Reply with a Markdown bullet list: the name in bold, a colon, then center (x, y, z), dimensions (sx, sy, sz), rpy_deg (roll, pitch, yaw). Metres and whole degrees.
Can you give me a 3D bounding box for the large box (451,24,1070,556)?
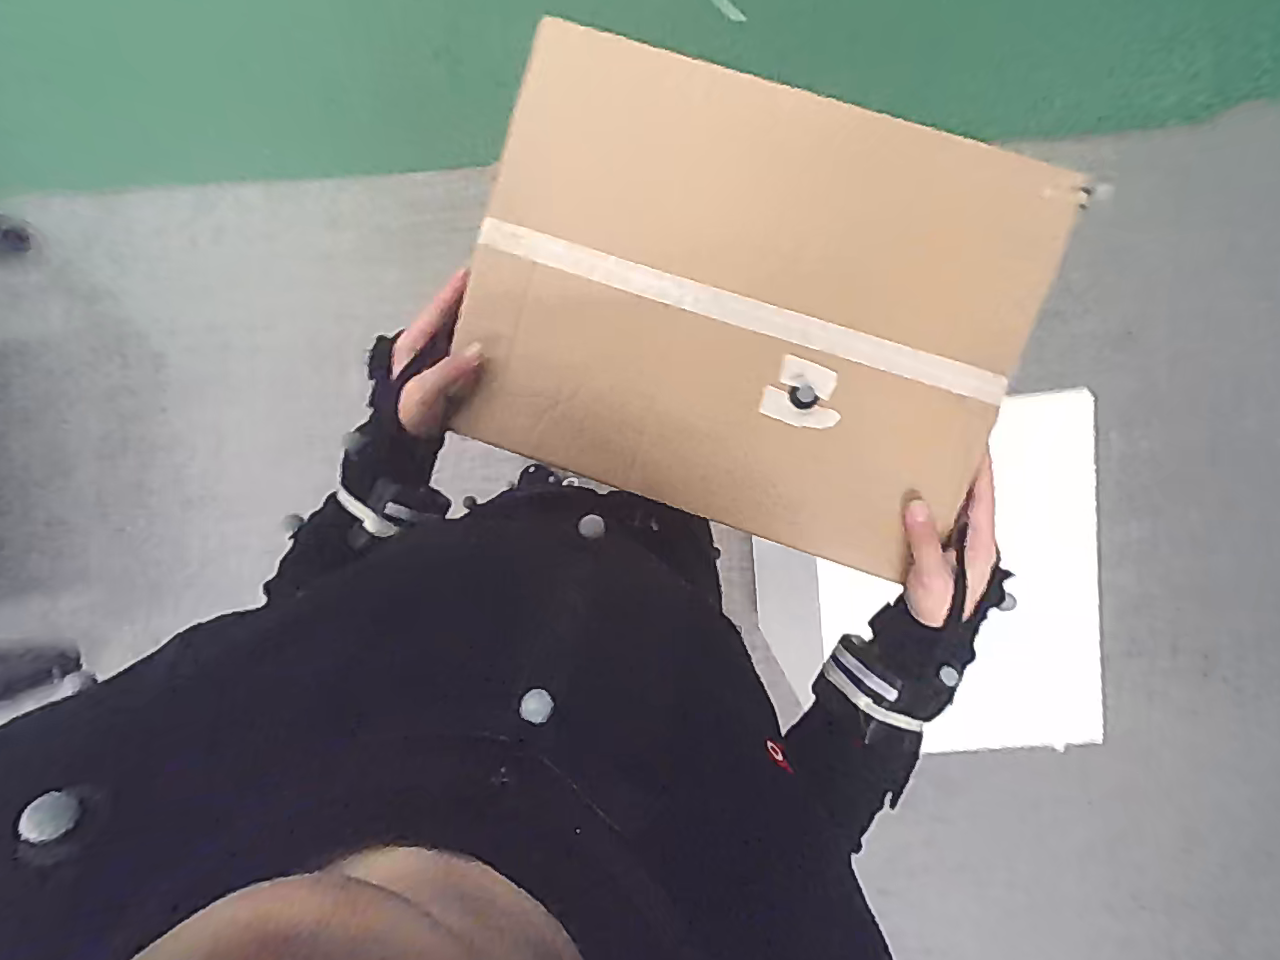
- **large box**: center (0.086, -0.155, 0.558), dimensions (0.408, 0.320, 0.320), rpy_deg (18, 98, 2)
